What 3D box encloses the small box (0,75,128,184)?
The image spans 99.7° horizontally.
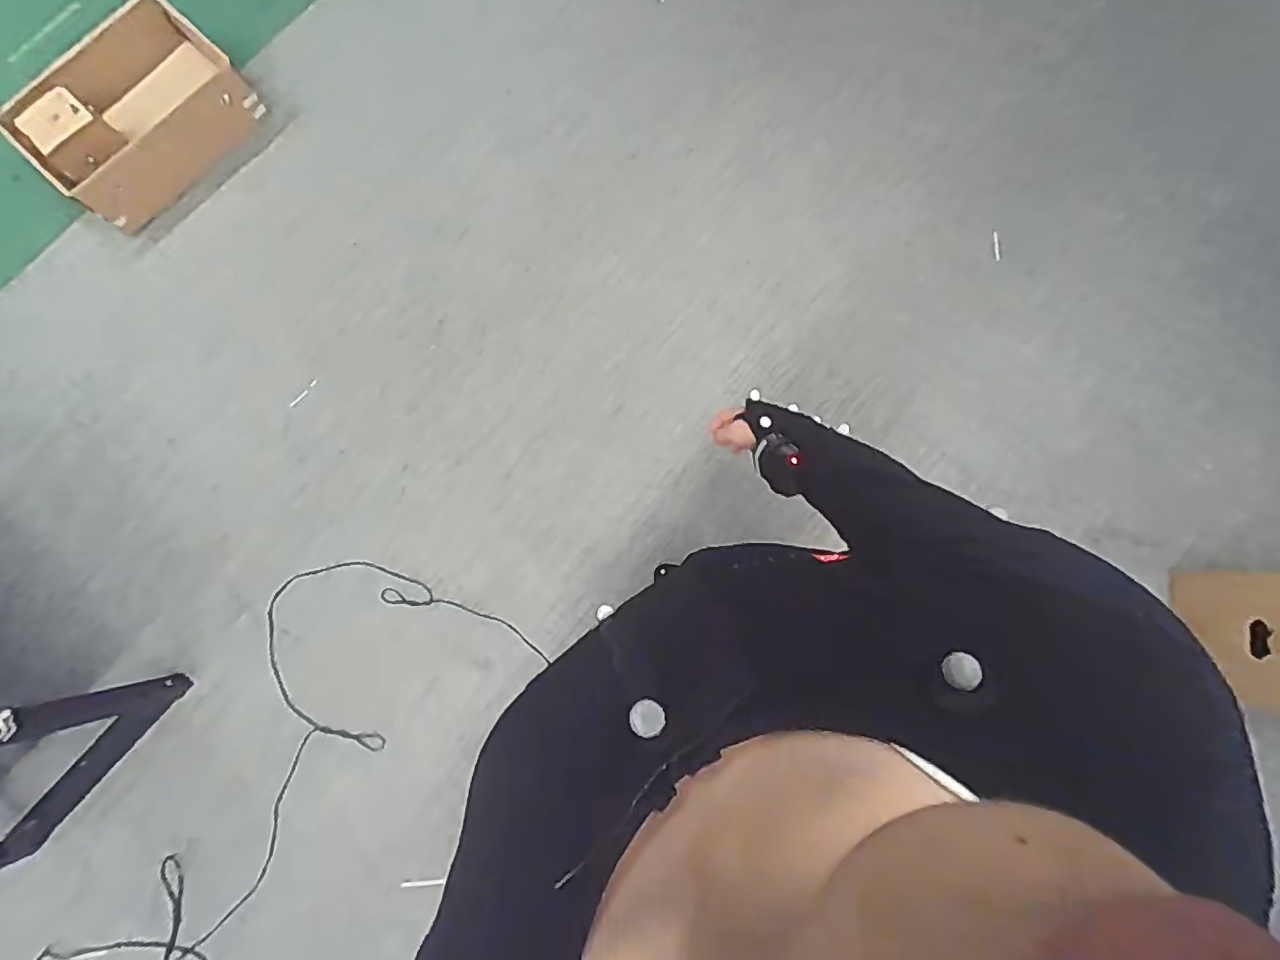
[{"bbox_3d":[-1.693,-1.024,1.596,0.168,0.176,0.179,43,84,6],"label":"small box"}]
